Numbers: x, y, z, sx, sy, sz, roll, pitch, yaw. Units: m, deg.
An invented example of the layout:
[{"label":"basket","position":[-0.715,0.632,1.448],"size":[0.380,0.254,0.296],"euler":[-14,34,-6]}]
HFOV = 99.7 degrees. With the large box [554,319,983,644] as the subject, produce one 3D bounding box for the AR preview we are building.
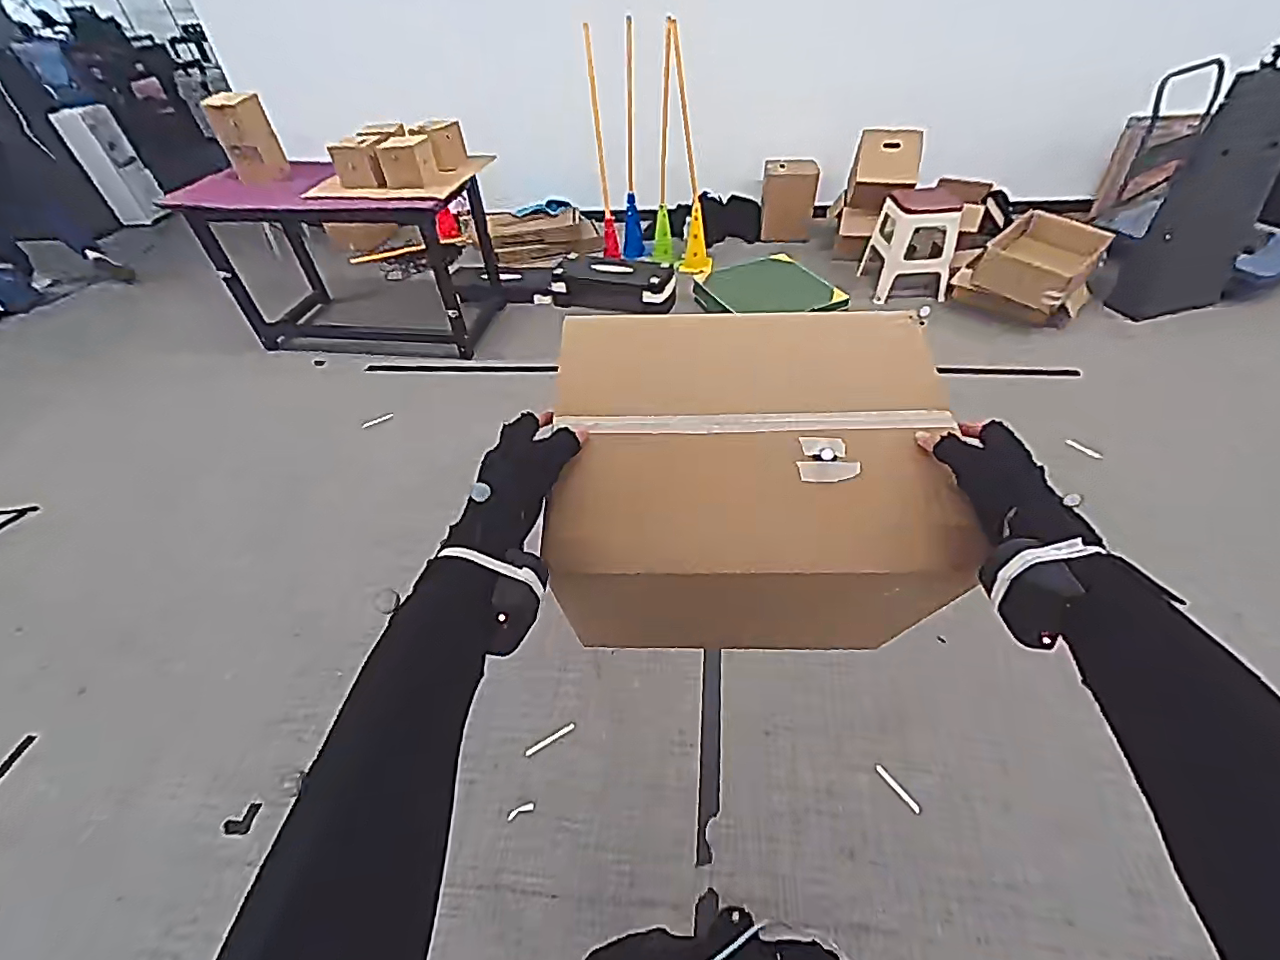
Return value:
[{"label":"large box","position":[0.118,0.019,0.696],"size":[0.408,0.320,0.320],"euler":[0,61,1]}]
